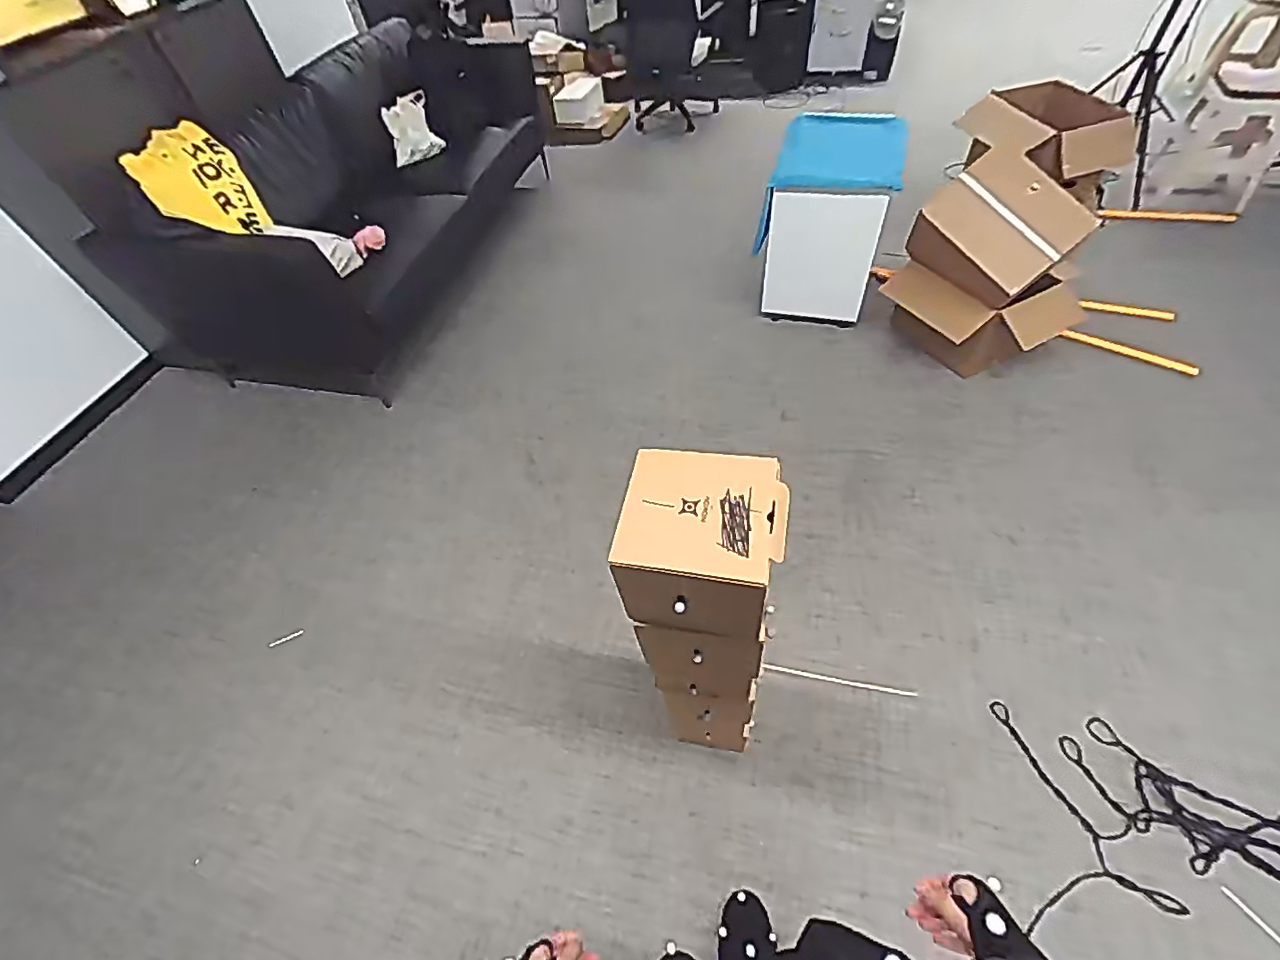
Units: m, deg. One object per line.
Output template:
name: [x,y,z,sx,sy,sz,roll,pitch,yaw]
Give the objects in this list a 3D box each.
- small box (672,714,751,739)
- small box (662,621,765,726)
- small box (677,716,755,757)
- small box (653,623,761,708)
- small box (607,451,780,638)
small box: [0.166,0.463,1.208,0.179,0.176,0.168,7,54,13]
small box: [0.148,0.374,1.072,0.179,0.176,0.168,5,53,12]
small box: [0.194,0.566,1.333,0.179,0.176,0.168,7,53,13]
small box: [0.123,0.276,0.945,0.168,0.176,0.179,4,54,12]
small box: [0.076,0.085,0.682,0.179,0.176,0.168,6,54,15]
